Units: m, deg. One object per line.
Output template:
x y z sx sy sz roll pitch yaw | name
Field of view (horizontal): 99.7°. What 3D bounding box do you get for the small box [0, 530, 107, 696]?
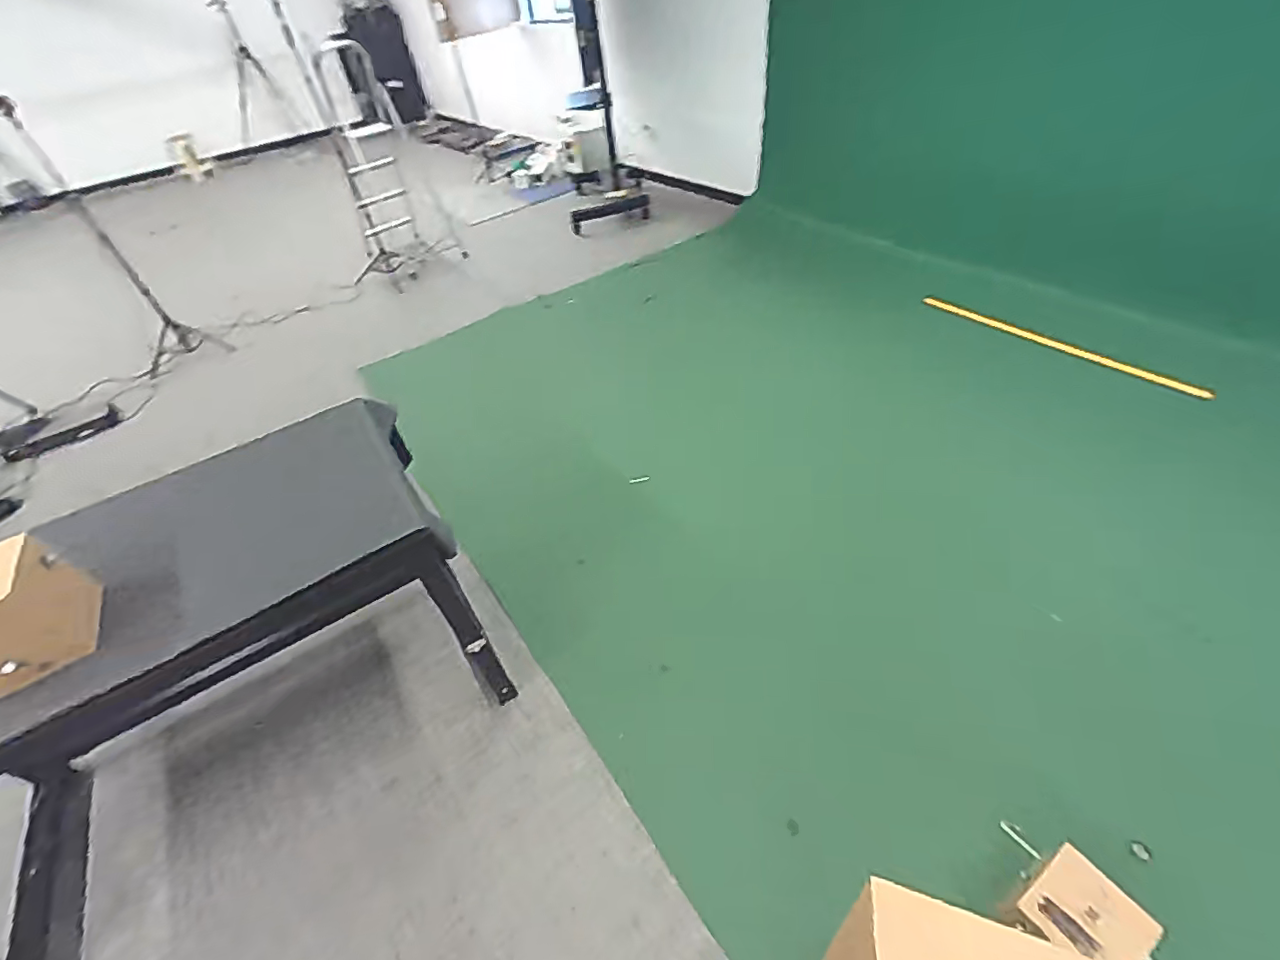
-1.057 0.225 0.910 0.168 0.176 0.179 -30 47 -20 | small box
